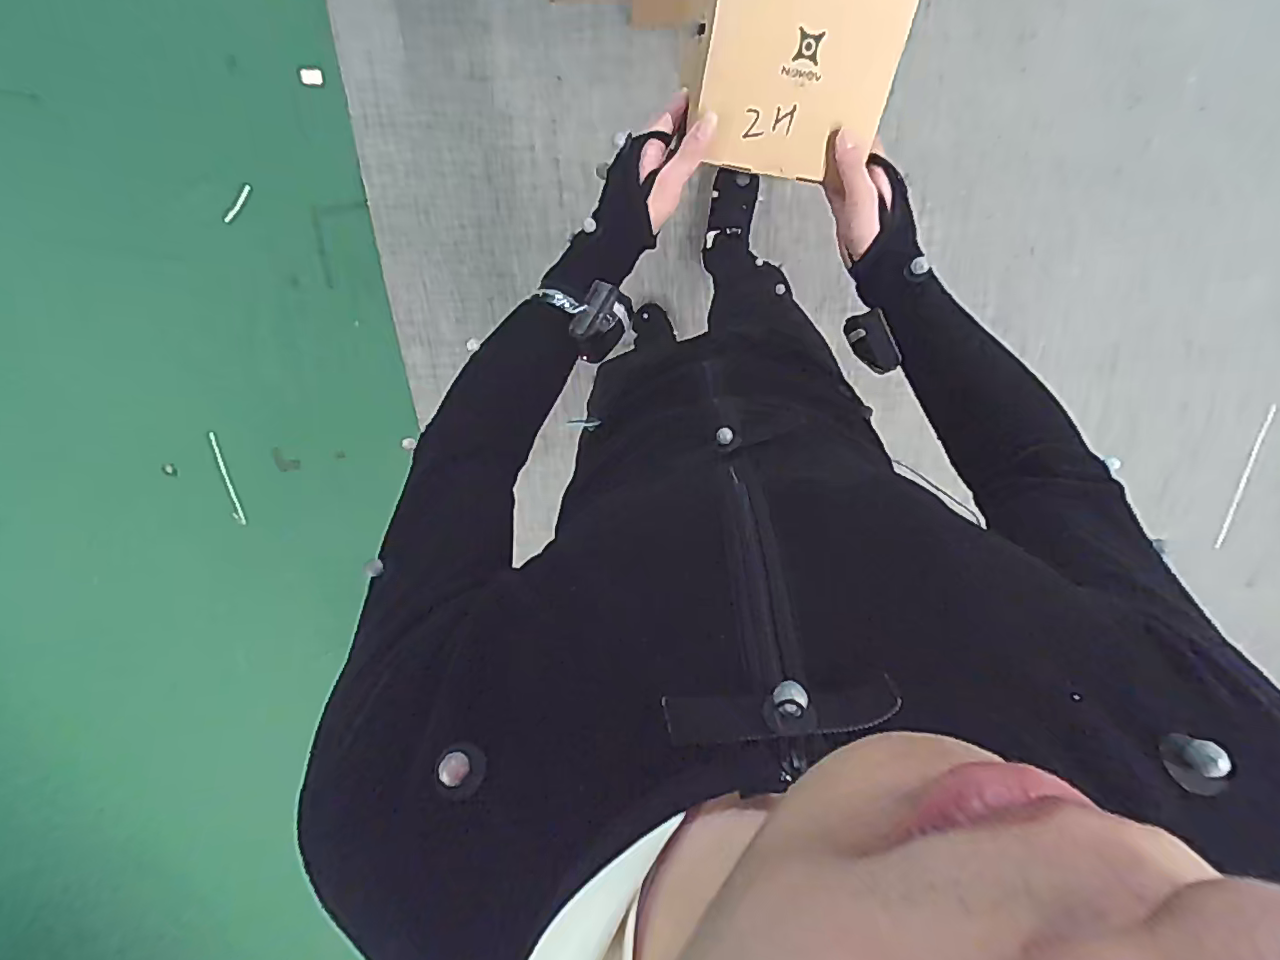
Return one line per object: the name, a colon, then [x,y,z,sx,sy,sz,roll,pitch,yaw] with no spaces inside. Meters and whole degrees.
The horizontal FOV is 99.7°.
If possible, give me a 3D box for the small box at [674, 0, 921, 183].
small box: [0.133,-0.402,0.517,0.168,0.176,0.179,6,123,-8]
